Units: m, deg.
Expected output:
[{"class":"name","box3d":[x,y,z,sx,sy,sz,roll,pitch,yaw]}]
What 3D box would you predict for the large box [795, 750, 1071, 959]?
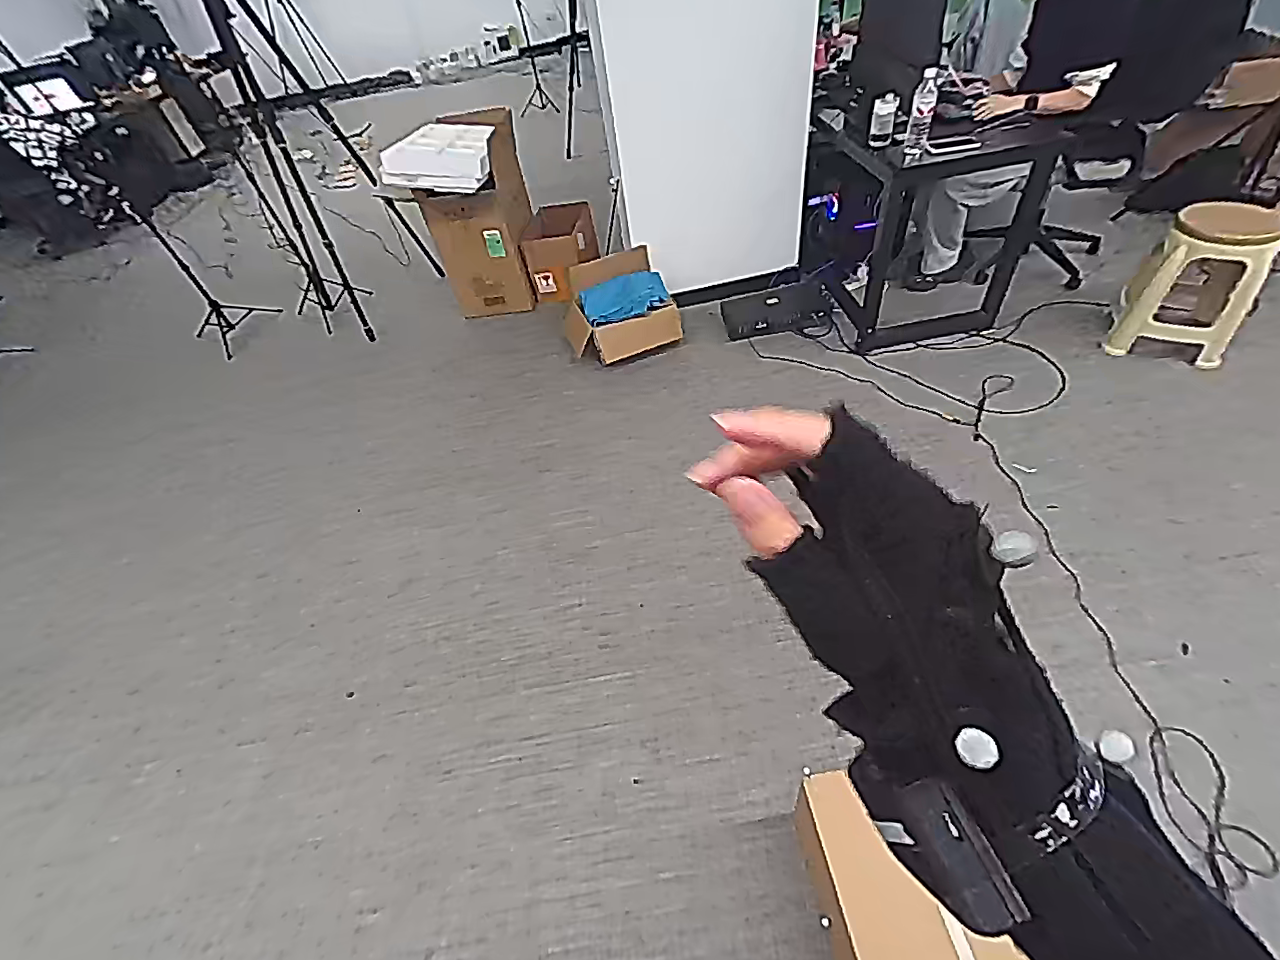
[{"class":"large box","box3d":[0.505,0.782,0.993,0.320,0.320,0.408,-10,45,0]}]
